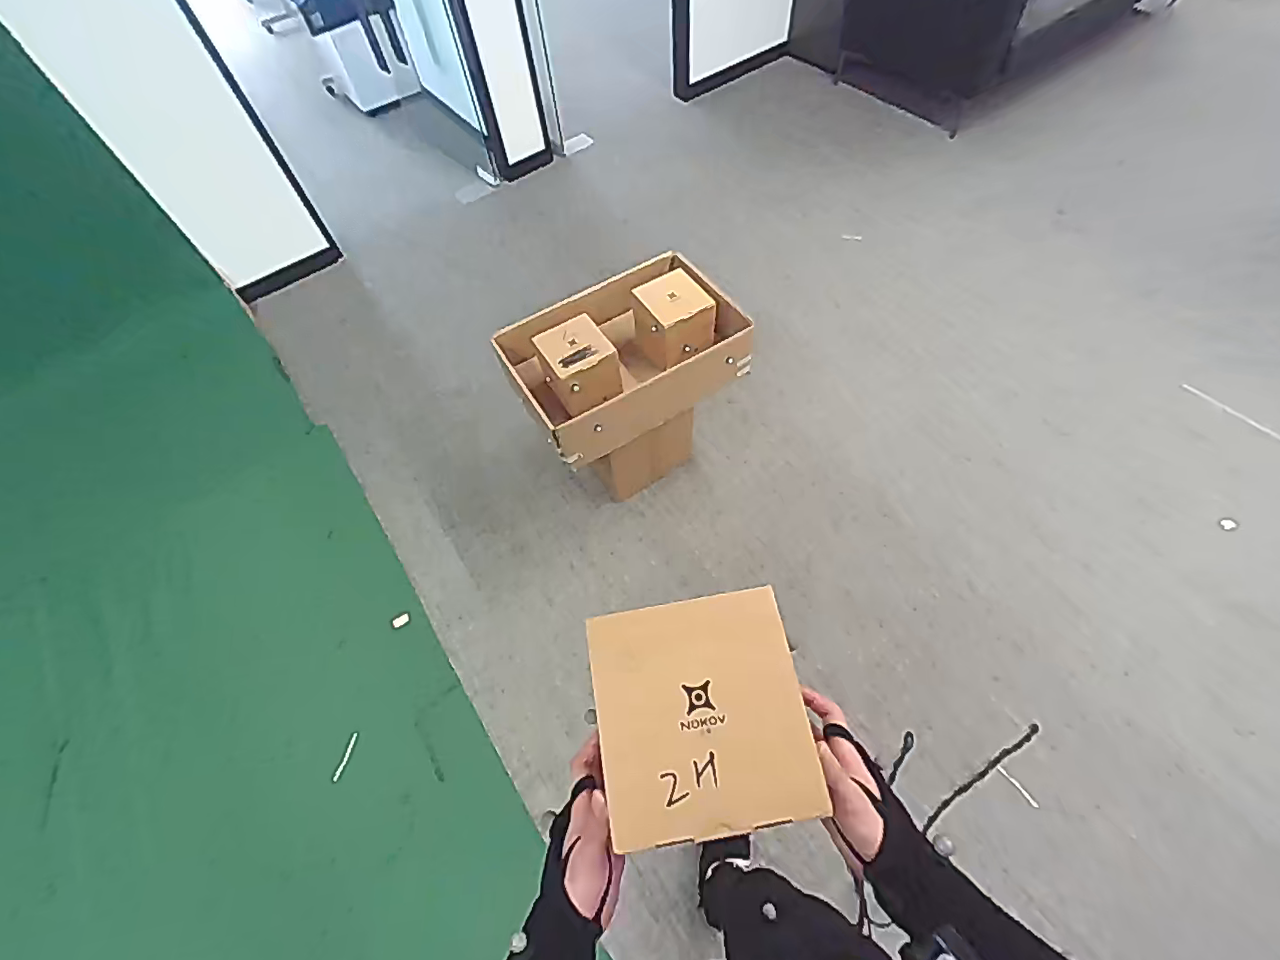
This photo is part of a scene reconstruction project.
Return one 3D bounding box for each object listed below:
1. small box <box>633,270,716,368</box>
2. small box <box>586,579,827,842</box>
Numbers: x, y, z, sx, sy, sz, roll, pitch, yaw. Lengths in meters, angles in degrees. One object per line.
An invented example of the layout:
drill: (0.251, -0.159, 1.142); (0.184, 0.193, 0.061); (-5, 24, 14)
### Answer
small box: (0.095, -0.451, 1.526); (0.168, 0.176, 0.179); (-30, 62, -13)
small box: (0.050, 0.209, 0.502); (0.168, 0.176, 0.179); (-11, 65, 0)
